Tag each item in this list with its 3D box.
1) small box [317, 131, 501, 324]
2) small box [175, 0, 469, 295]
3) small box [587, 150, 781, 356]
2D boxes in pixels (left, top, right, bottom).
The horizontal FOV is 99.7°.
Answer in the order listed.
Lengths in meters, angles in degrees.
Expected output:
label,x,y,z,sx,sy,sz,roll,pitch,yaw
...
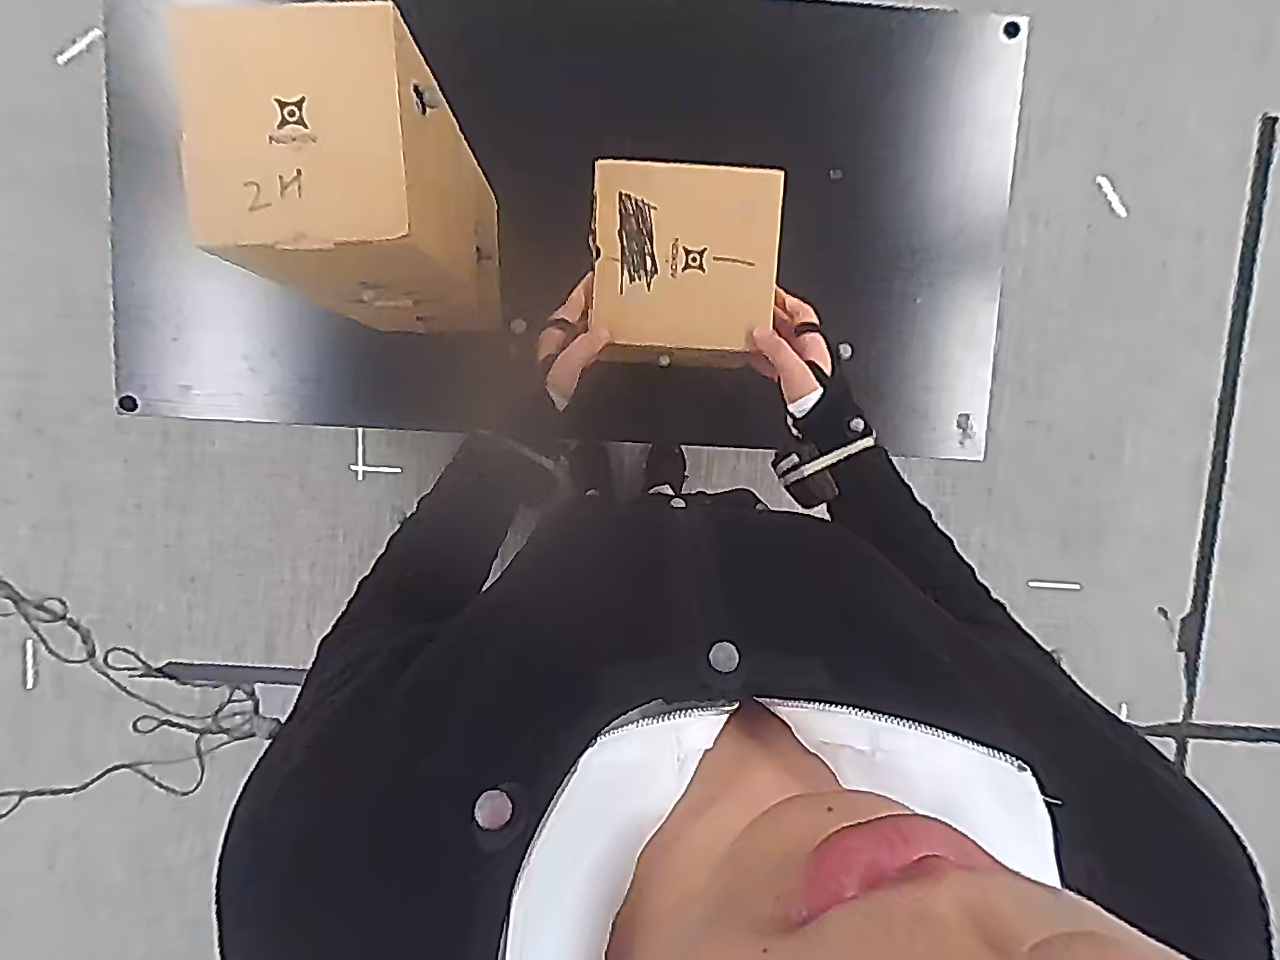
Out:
label,x,y,z,sx,sy,sz,roll,pitch,yaw
small box,-0.270,-0.290,0.656,0.168,0.176,0.179,-1,95,-2
small box,-0.263,-0.280,0.490,0.168,0.176,0.179,-3,95,-1
small box,0.039,-0.229,0.587,0.179,0.176,0.168,3,97,-1
